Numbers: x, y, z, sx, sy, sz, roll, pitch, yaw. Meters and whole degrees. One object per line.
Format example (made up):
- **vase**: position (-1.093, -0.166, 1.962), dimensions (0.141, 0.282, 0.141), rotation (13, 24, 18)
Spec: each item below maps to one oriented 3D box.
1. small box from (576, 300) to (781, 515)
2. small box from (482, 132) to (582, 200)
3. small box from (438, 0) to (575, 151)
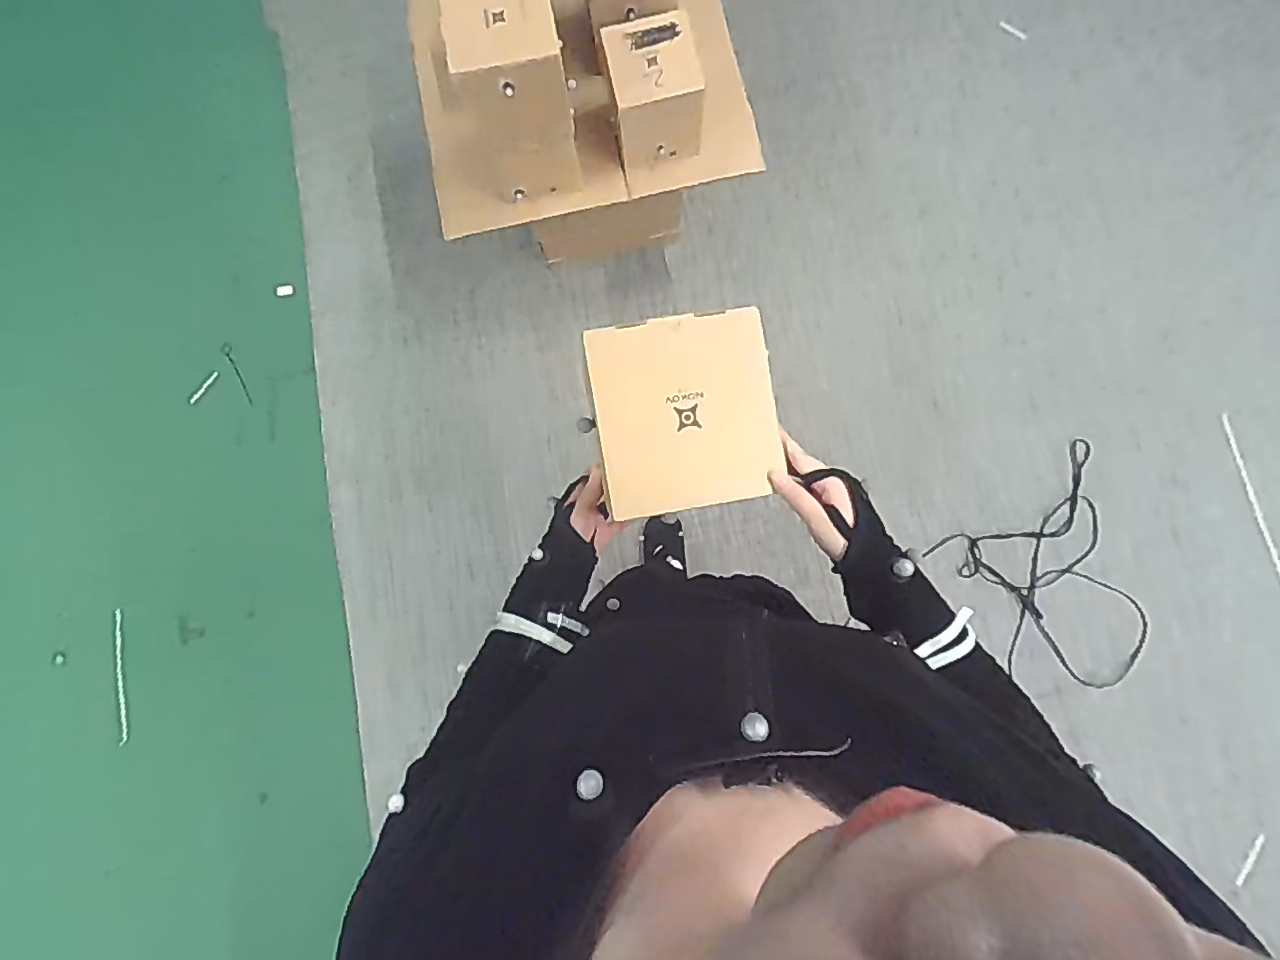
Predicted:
- **small box**: position (0.031, -0.065, 0.566), dimensions (0.168, 0.176, 0.179), rotation (-10, 89, -4)
- **small box**: position (-0.218, -0.689, 1.080), dimensions (0.168, 0.176, 0.179), rotation (-10, 81, 1)
- **small box**: position (-0.218, -0.696, 0.917), dimensions (0.179, 0.176, 0.168), rotation (-10, 83, 1)
